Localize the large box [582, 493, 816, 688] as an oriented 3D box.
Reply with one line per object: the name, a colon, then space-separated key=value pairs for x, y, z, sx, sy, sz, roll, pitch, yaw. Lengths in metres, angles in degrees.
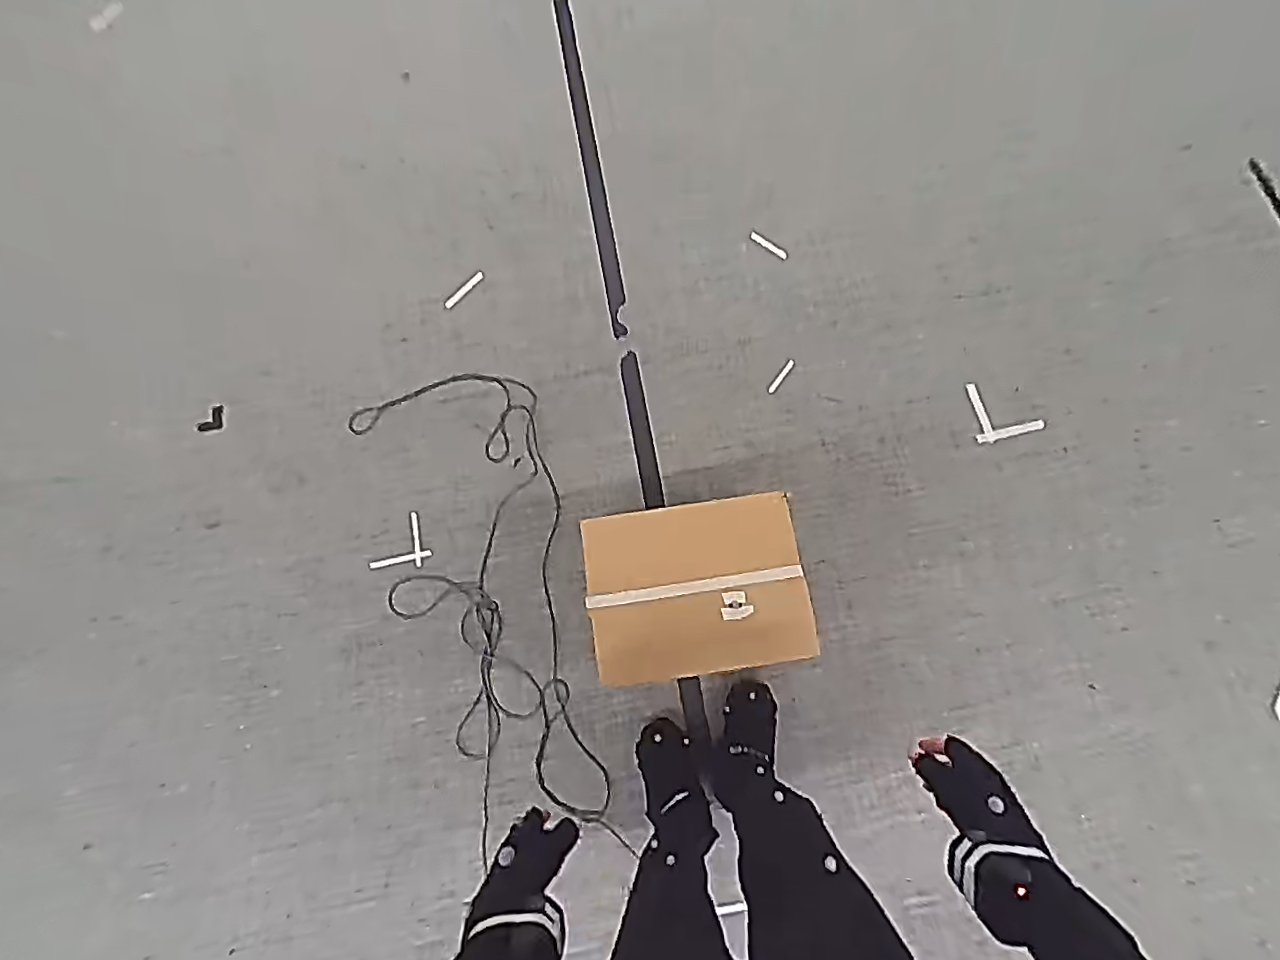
large box: x=0.108 y=0.239 z=1.166 sx=0.408 sy=0.320 sz=0.320 roll=-9 pitch=76 yaw=-1
